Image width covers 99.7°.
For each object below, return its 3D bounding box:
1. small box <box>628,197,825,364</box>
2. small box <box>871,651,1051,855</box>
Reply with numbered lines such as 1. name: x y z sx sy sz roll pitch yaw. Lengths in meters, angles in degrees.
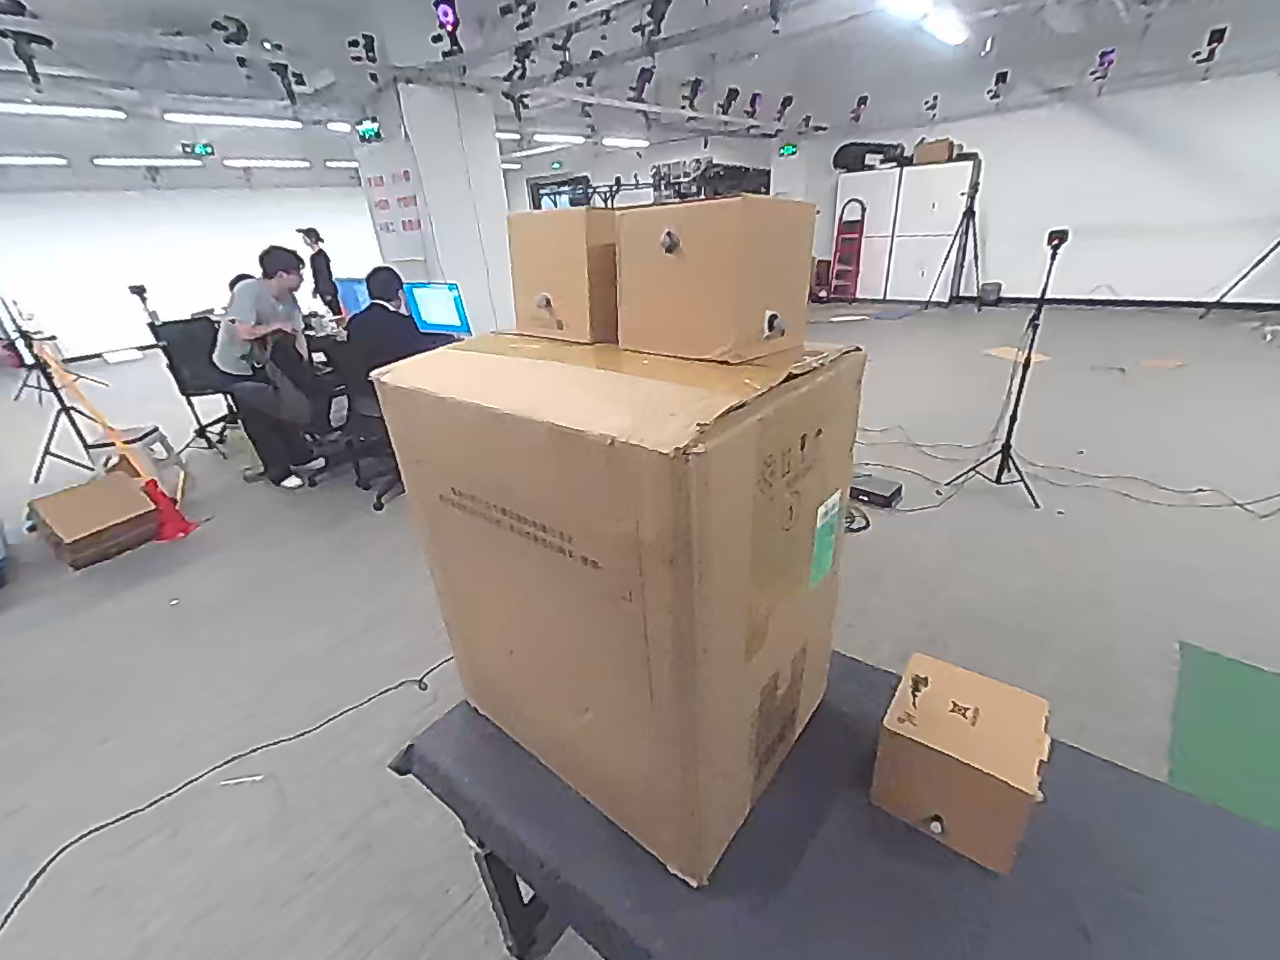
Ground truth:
1. small box: 0.102 -0.244 0.665 0.179 0.176 0.168 19 31 37
2. small box: 0.453 0.388 0.774 0.179 0.176 0.168 17 33 35
